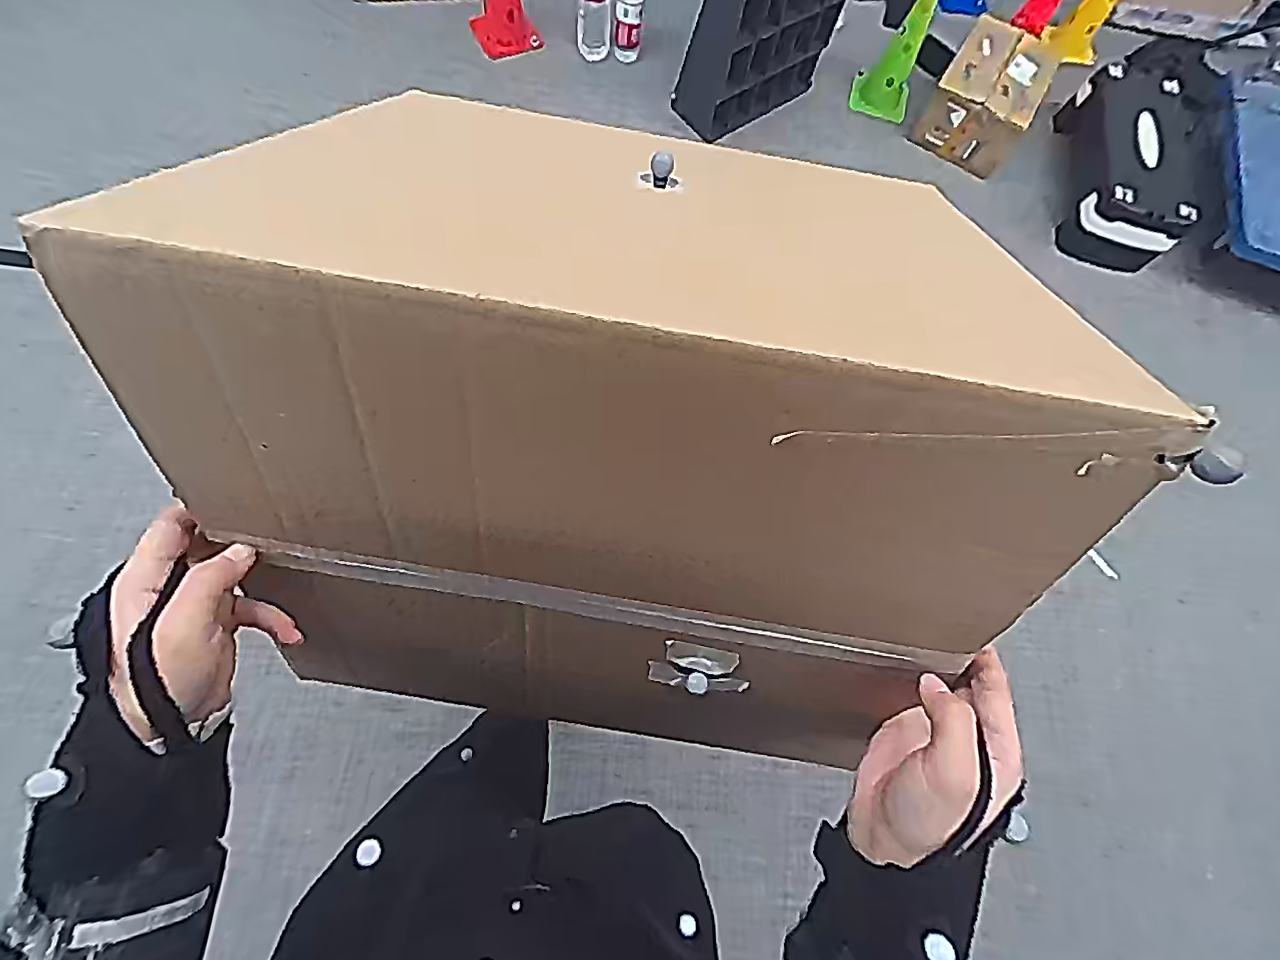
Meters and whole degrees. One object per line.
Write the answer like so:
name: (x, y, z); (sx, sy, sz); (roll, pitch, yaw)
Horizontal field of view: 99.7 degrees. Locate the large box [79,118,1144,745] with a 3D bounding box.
large box: (-0.015, -0.044, 0.405); (0.408, 0.320, 0.320); (9, 44, -1)
